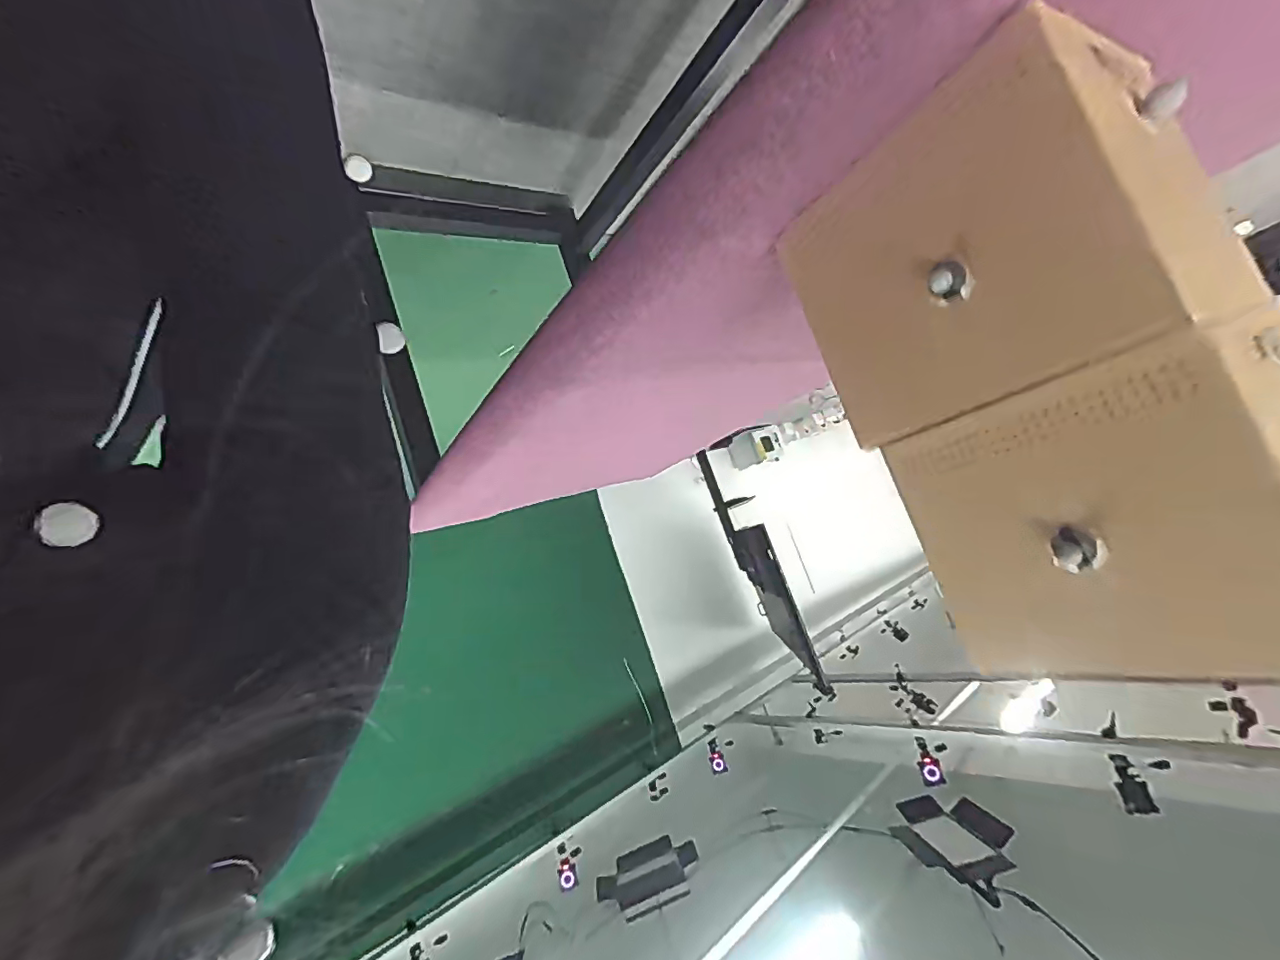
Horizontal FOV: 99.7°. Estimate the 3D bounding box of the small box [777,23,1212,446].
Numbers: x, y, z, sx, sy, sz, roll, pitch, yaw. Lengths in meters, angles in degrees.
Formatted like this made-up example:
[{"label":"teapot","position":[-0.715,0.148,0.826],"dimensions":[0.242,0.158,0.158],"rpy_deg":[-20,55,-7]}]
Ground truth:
[{"label":"small box","position":[0.217,-0.142,0.366],"dimensions":[0.168,0.176,0.179],"rpy_deg":[-16,172,-33]}]
